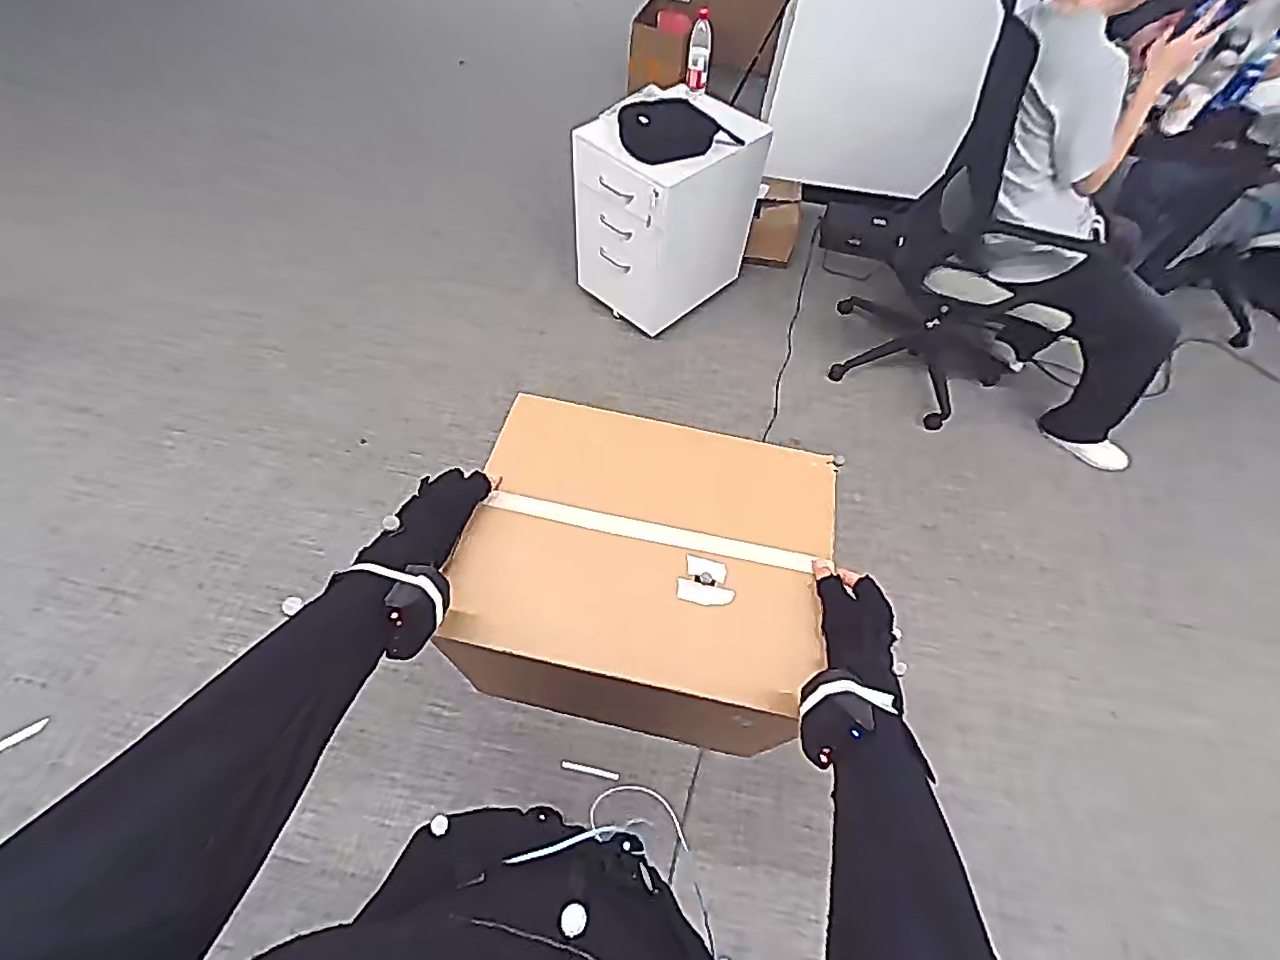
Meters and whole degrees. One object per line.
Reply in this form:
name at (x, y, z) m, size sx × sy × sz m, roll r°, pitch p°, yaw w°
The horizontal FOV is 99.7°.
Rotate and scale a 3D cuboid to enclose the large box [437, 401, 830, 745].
large box at (0.004, 0.139, 0.736) m, size 0.408 × 0.320 × 0.320 m, roll 13°, pitch 59°, yaw 3°
